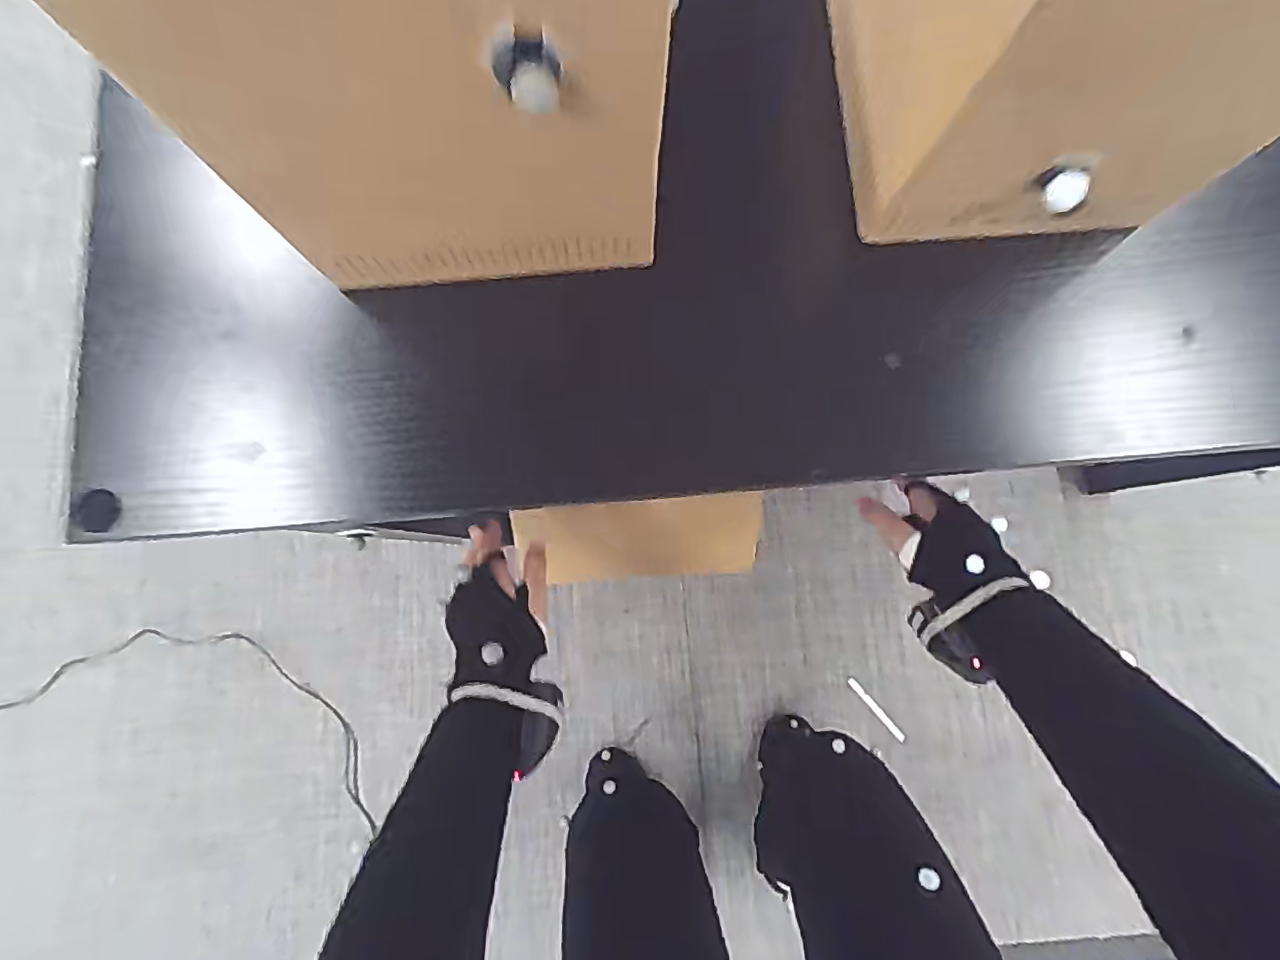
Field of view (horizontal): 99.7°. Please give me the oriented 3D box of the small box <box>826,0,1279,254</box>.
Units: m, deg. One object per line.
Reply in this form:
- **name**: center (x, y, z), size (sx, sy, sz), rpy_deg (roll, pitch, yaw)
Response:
- **small box**: center (0.199, -0.231, 0.247), size (0.168, 0.176, 0.179), rpy_deg (-4, 82, -1)
